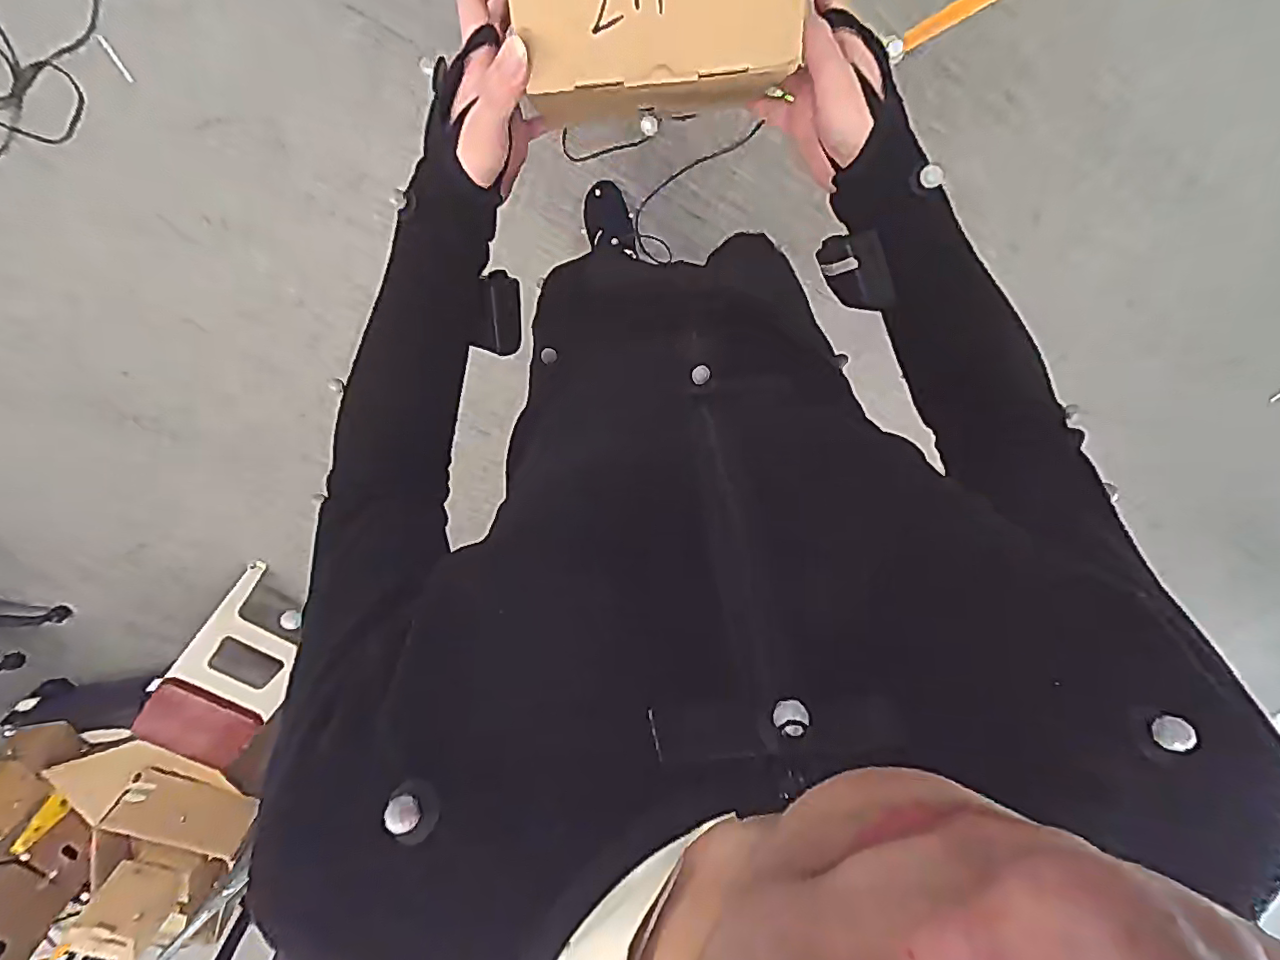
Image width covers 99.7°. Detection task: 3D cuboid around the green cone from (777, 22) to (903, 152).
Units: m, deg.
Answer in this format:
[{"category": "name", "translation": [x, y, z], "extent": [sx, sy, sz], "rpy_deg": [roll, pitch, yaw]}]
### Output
[{"category": "green cone", "translation": [0.449, -0.833, 1.108], "extent": [0.202, 0.368, 0.200], "rpy_deg": [25, 114, -13]}]

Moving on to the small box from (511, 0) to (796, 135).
[{"category": "small box", "translation": [0.002, -0.347, 0.360], "extent": [0.168, 0.176, 0.179], "rpy_deg": [-5, 117, 0]}]
